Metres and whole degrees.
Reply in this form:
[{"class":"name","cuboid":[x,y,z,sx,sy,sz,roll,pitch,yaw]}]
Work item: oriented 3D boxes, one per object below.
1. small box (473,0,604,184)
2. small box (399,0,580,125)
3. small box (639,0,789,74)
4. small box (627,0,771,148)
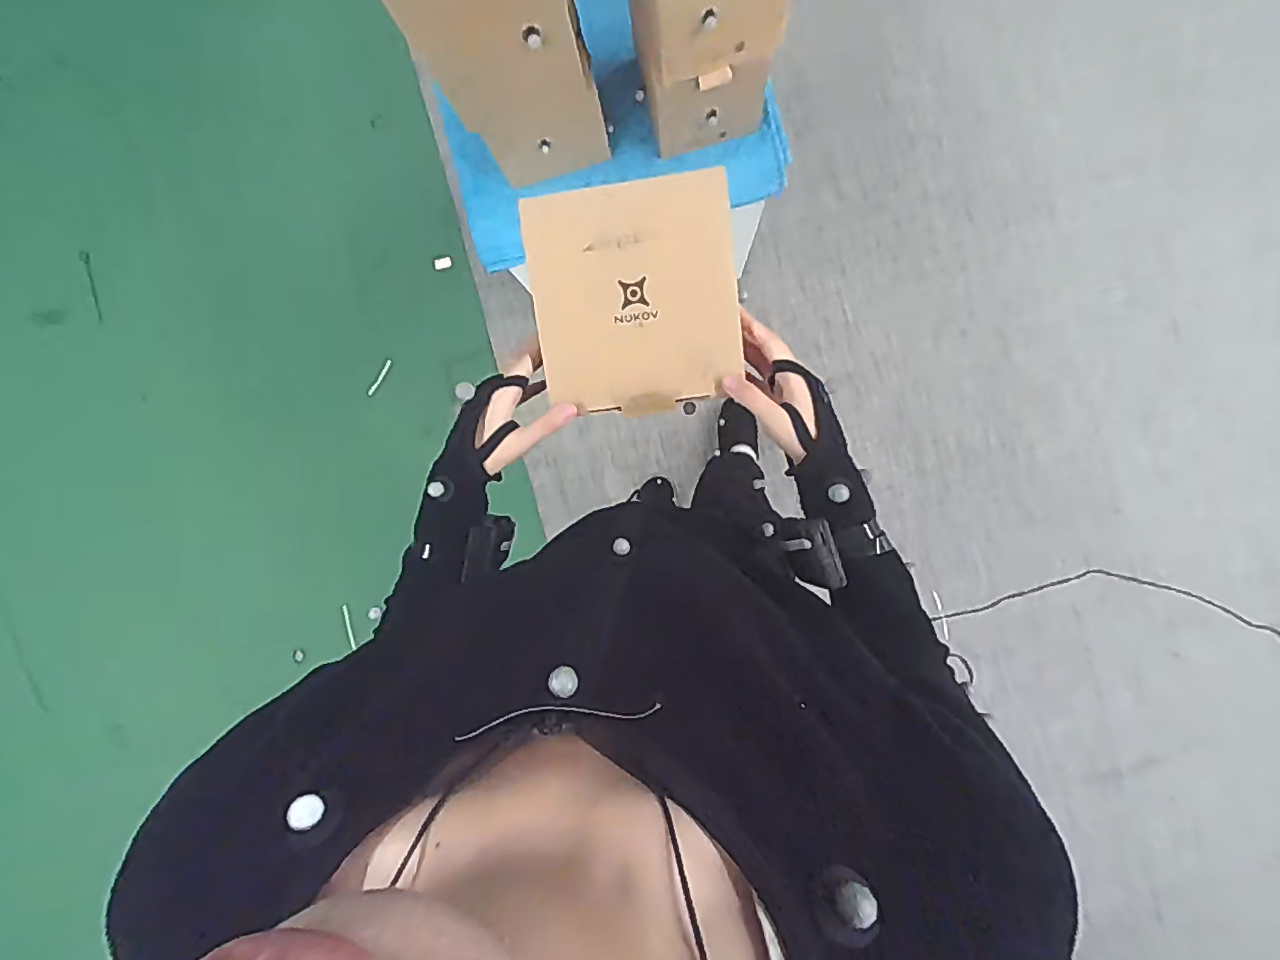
[{"class":"small box","cuboid":[-0.157,-0.581,0.807,0.179,0.176,0.168,-14,91,5]},{"class":"small box","cuboid":[-0.177,-0.571,0.644,0.179,0.176,0.168,-14,90,4]},{"class":"small box","cuboid":[0.078,-0.620,0.626,0.168,0.176,0.179,-16,89,5]},{"class":"small box","cuboid":[0.082,-0.622,0.789,0.168,0.176,0.179,-14,91,4]}]
